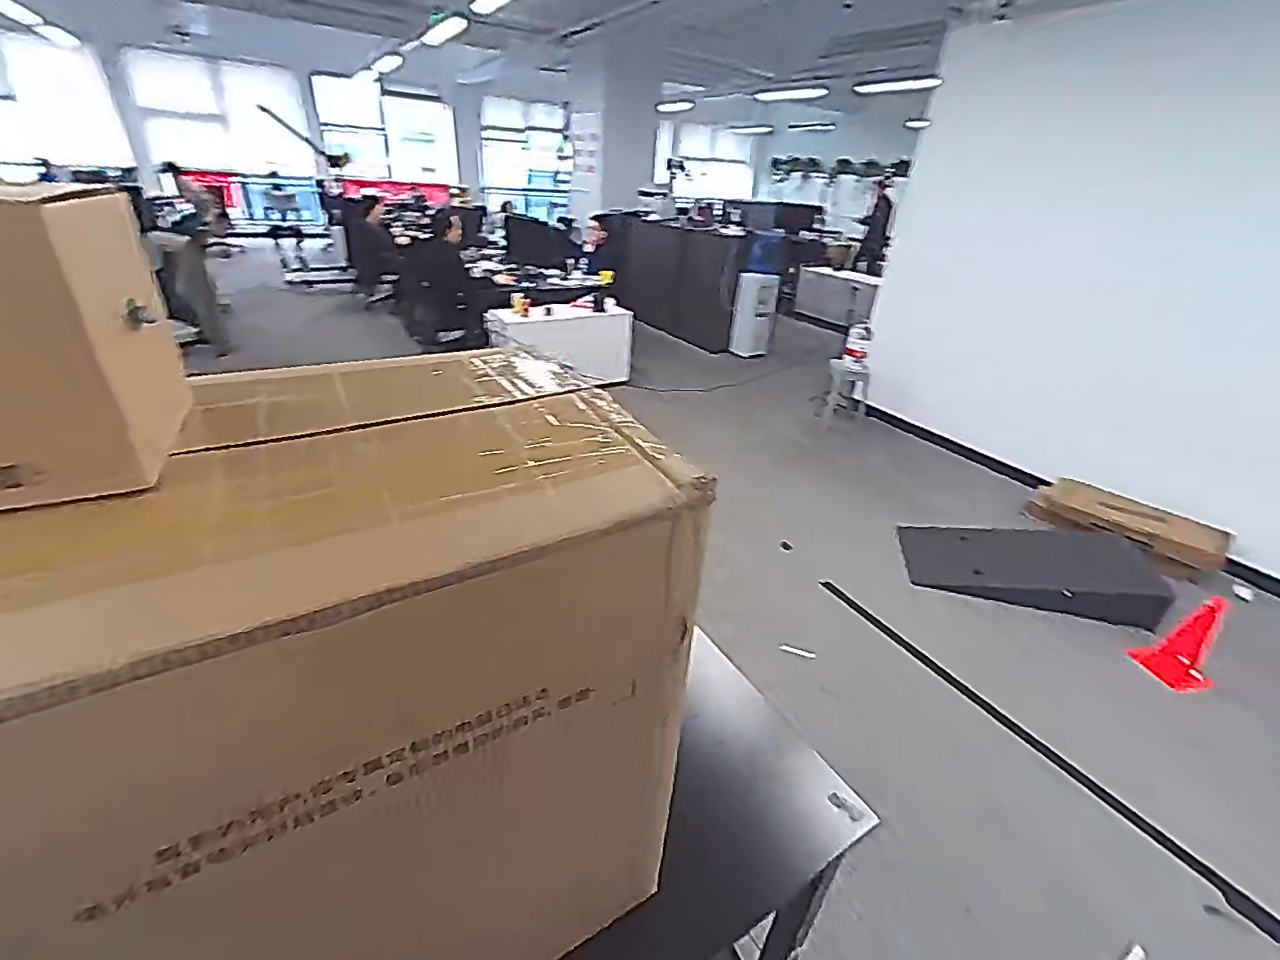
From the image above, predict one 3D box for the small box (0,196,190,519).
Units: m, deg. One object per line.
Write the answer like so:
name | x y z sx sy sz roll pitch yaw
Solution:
small box | -0.419 -0.083 0.342 0.168 0.176 0.179 -13 33 -27
